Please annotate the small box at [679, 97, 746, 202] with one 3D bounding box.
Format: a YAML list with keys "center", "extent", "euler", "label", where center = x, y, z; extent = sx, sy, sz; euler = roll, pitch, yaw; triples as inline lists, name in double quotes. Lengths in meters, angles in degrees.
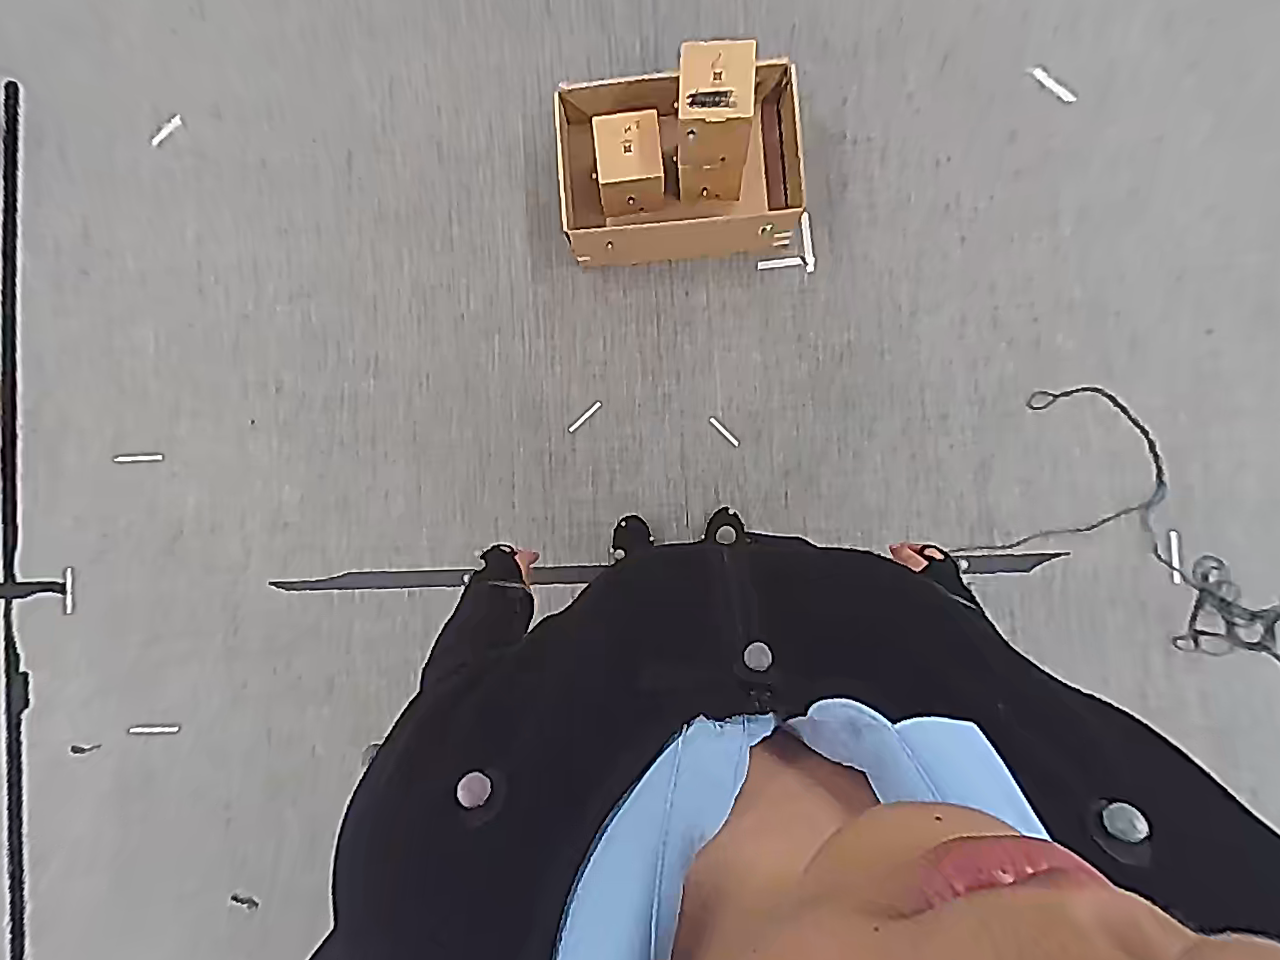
- center: [0.188, -0.861, 1.422]
  extent: [0.168, 0.176, 0.179]
  euler: [0, 89, 6]
  label: "small box"

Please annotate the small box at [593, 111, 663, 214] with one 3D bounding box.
- center: [-0.027, -0.827, 1.430]
  extent: [0.168, 0.176, 0.179]
  euler: [-6, 87, 1]
  label: "small box"
